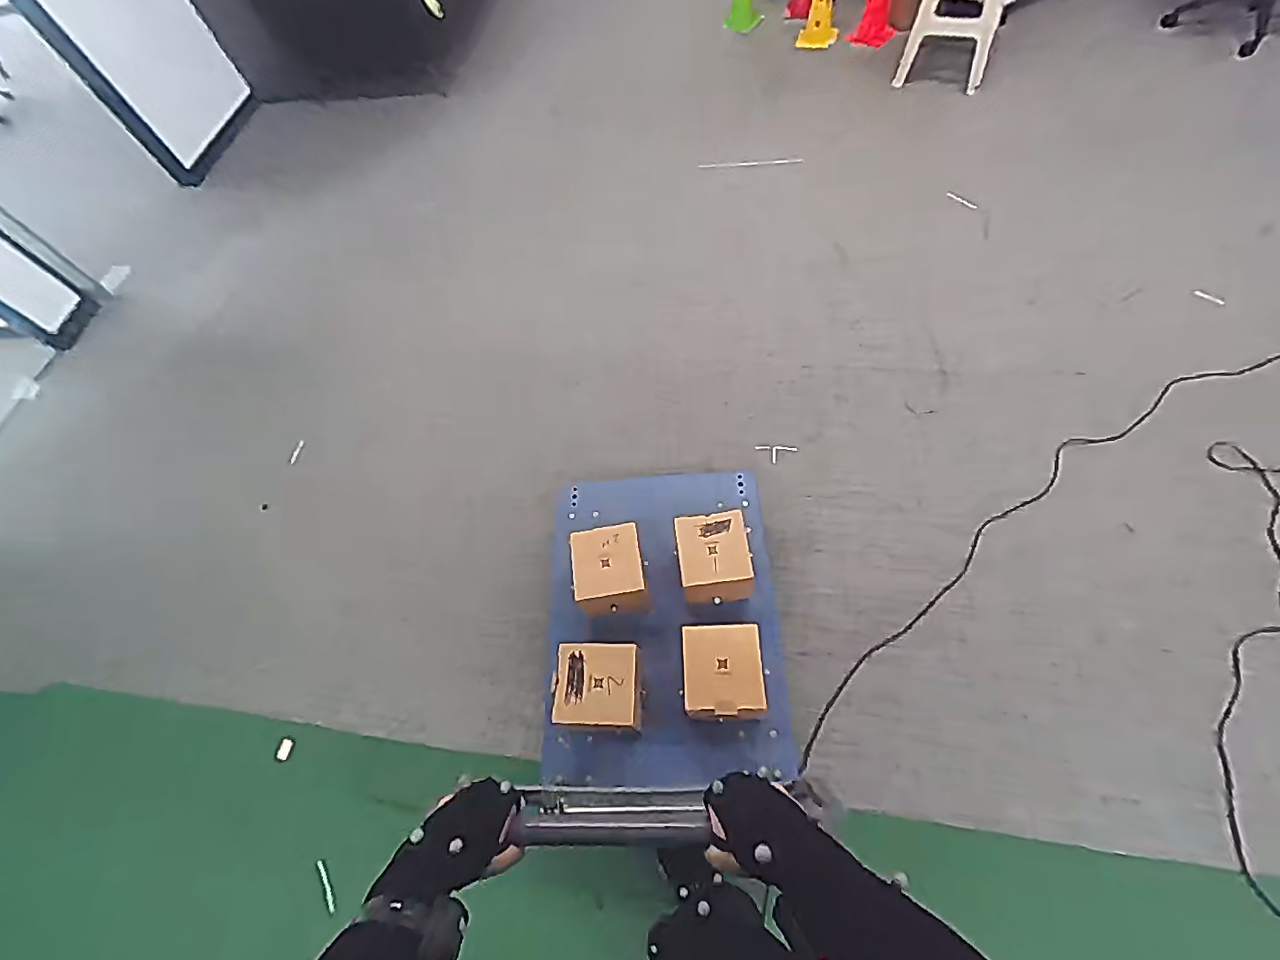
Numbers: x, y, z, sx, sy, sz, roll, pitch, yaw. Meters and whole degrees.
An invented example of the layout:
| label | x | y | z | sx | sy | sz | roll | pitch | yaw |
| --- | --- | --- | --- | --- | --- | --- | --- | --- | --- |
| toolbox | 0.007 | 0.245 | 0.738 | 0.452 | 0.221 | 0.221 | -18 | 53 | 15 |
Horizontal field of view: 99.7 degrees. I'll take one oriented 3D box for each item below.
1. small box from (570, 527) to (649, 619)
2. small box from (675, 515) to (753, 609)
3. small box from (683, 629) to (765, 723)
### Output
| label | x | y | z | sx | sy | sz | roll | pitch | yaw |
| --- | --- | --- | --- | --- | --- | --- | --- | --- | --- |
| small box | -0.073 | 0.241 | 1.359 | 0.168 | 0.176 | 0.179 | -9 | 60 | 2 |
| small box | 0.180 | 0.208 | 1.342 | 0.168 | 0.176 | 0.179 | -8 | 61 | 5 |
| small box | 0.182 | 0.442 | 1.212 | 0.168 | 0.176 | 0.179 | -3 | 62 | 6 |
